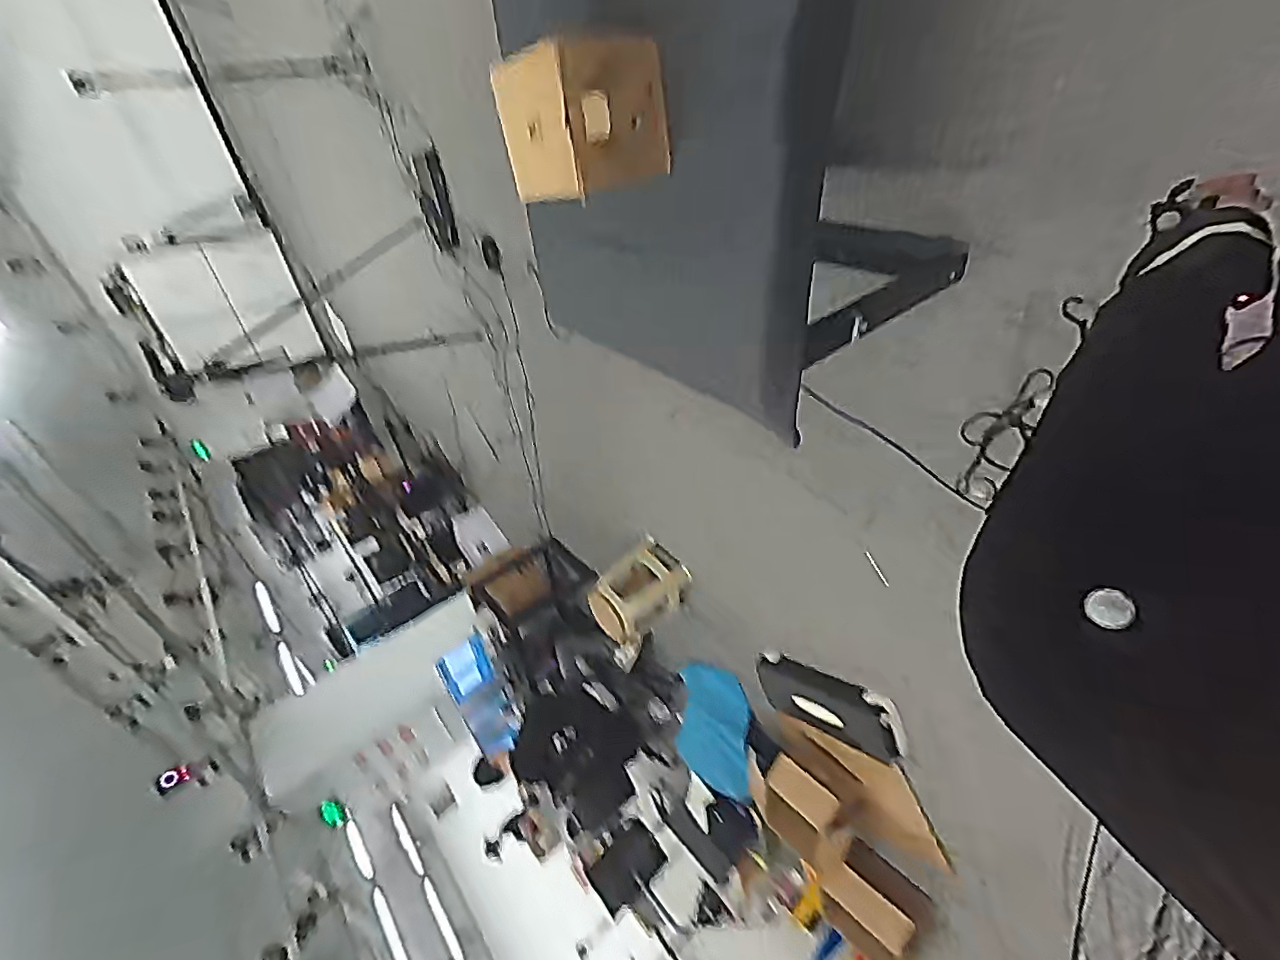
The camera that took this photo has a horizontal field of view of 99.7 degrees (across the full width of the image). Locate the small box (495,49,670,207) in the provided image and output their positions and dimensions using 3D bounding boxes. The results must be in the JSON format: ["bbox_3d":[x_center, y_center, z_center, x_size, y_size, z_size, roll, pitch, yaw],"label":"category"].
[{"bbox_3d":[-0.080,-0.504,0.788,0.179,0.176,0.168,25,136,45],"label":"small box"}]
